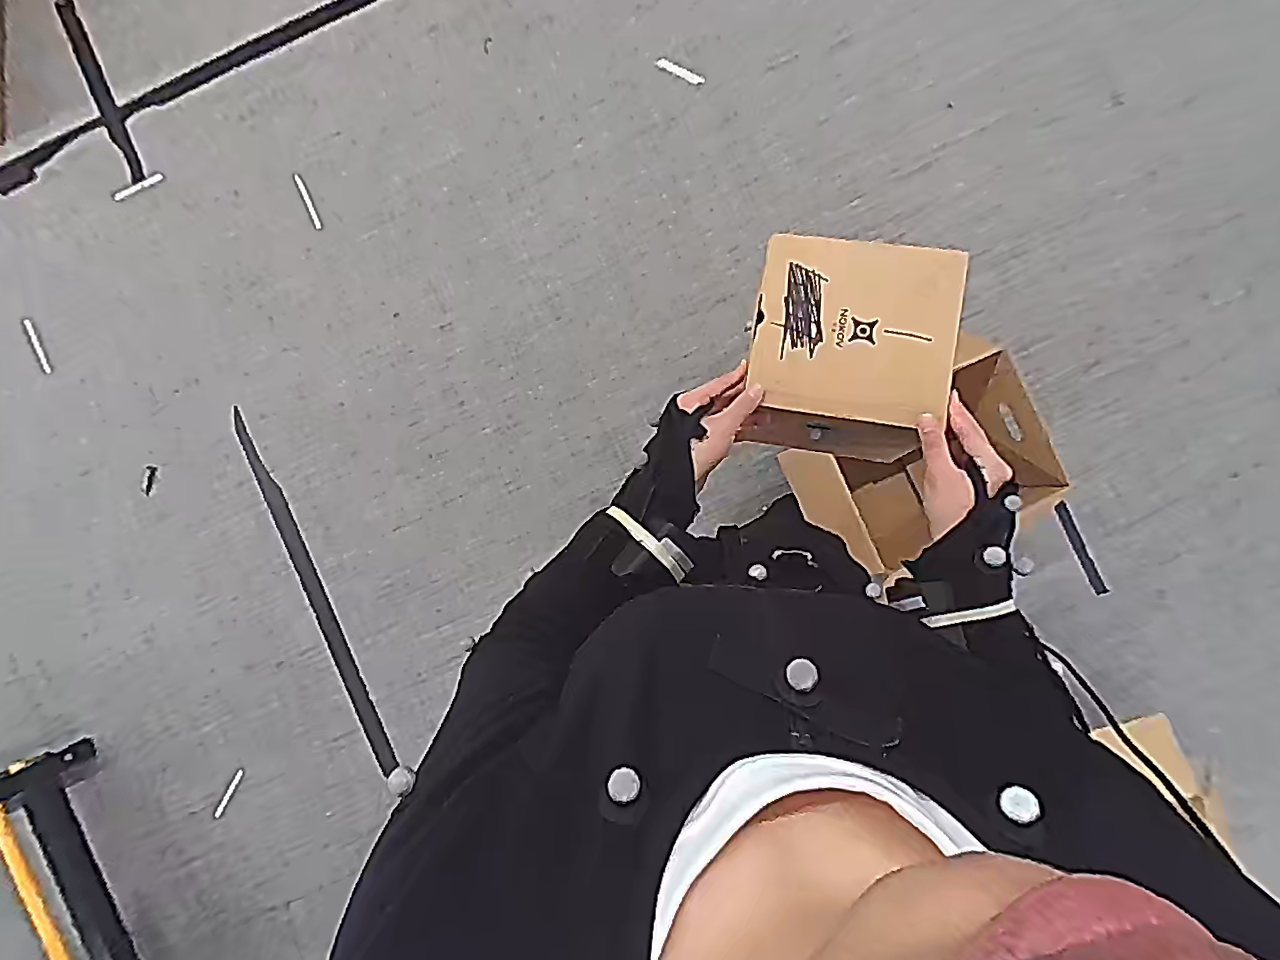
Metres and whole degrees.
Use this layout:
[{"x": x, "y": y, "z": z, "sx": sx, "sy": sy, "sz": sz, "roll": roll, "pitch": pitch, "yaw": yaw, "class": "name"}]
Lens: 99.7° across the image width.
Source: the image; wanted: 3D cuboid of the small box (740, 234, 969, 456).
[{"x": 0.201, "y": -0.125, "z": 0.555, "sx": 0.179, "sy": 0.176, "sz": 0.168, "roll": 9, "pitch": 85, "yaw": 10, "class": "small box"}]
